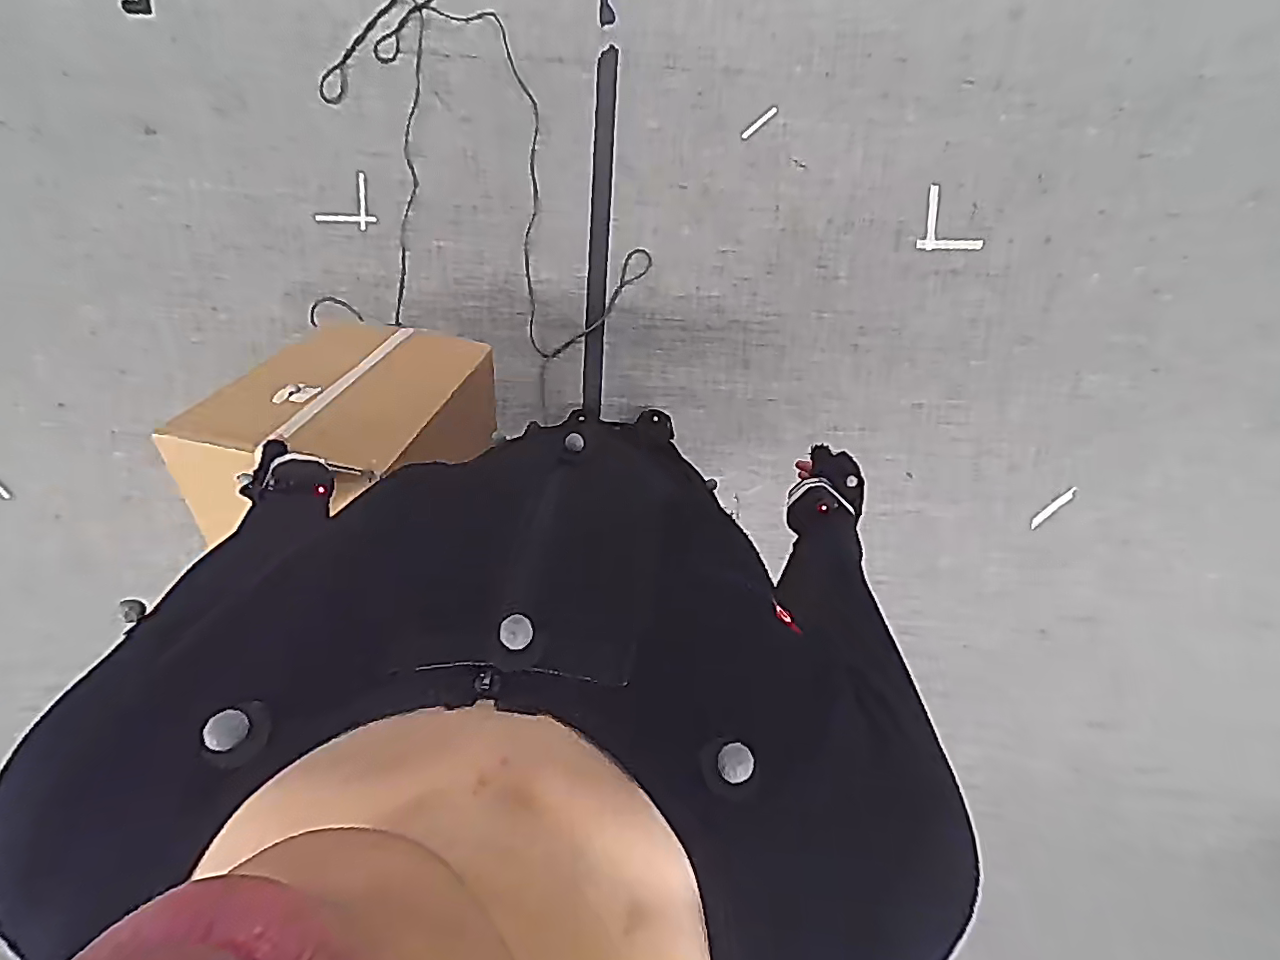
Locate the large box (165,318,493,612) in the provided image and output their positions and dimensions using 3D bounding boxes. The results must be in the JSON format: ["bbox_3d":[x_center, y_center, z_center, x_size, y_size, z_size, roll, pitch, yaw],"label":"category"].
[{"bbox_3d":[-0.477,-0.042,0.959,0.320,0.408,0.320,10,130,3],"label":"large box"}]
